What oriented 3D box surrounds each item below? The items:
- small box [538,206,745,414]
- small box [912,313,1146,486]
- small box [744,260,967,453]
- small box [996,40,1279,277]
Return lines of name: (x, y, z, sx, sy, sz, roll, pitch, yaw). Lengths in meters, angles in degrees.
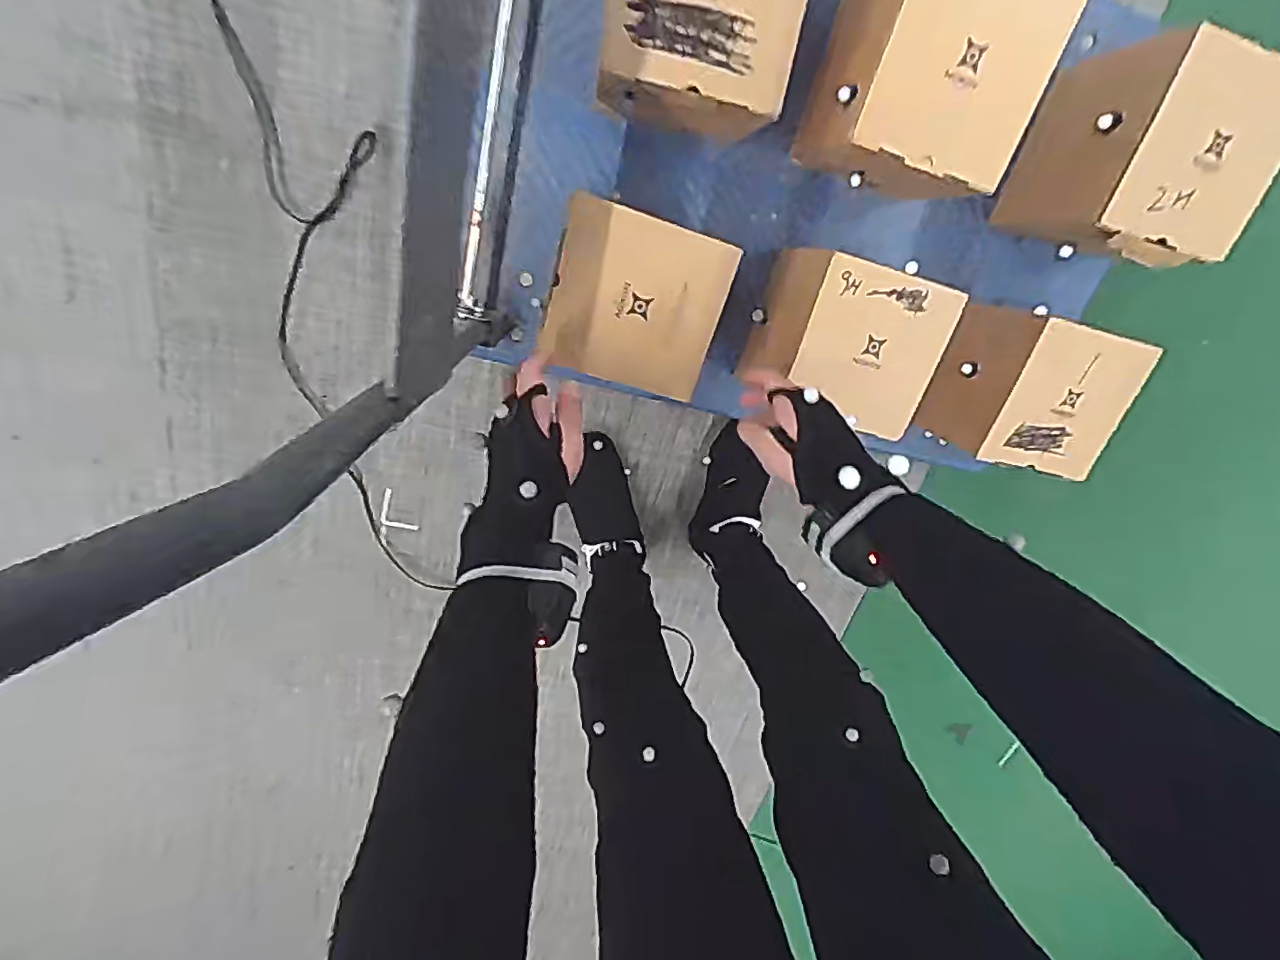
small box: (-0.010, -0.195, 0.622, 0.179, 0.176, 0.168, 14, 112, -14)
small box: (0.500, -0.116, 0.735, 0.168, 0.176, 0.179, 10, 112, -12)
small box: (0.244, -0.158, 0.667, 0.168, 0.176, 0.179, 12, 112, -13)
small box: (0.561, -0.347, 0.620, 0.168, 0.176, 0.179, 11, 112, -10)
